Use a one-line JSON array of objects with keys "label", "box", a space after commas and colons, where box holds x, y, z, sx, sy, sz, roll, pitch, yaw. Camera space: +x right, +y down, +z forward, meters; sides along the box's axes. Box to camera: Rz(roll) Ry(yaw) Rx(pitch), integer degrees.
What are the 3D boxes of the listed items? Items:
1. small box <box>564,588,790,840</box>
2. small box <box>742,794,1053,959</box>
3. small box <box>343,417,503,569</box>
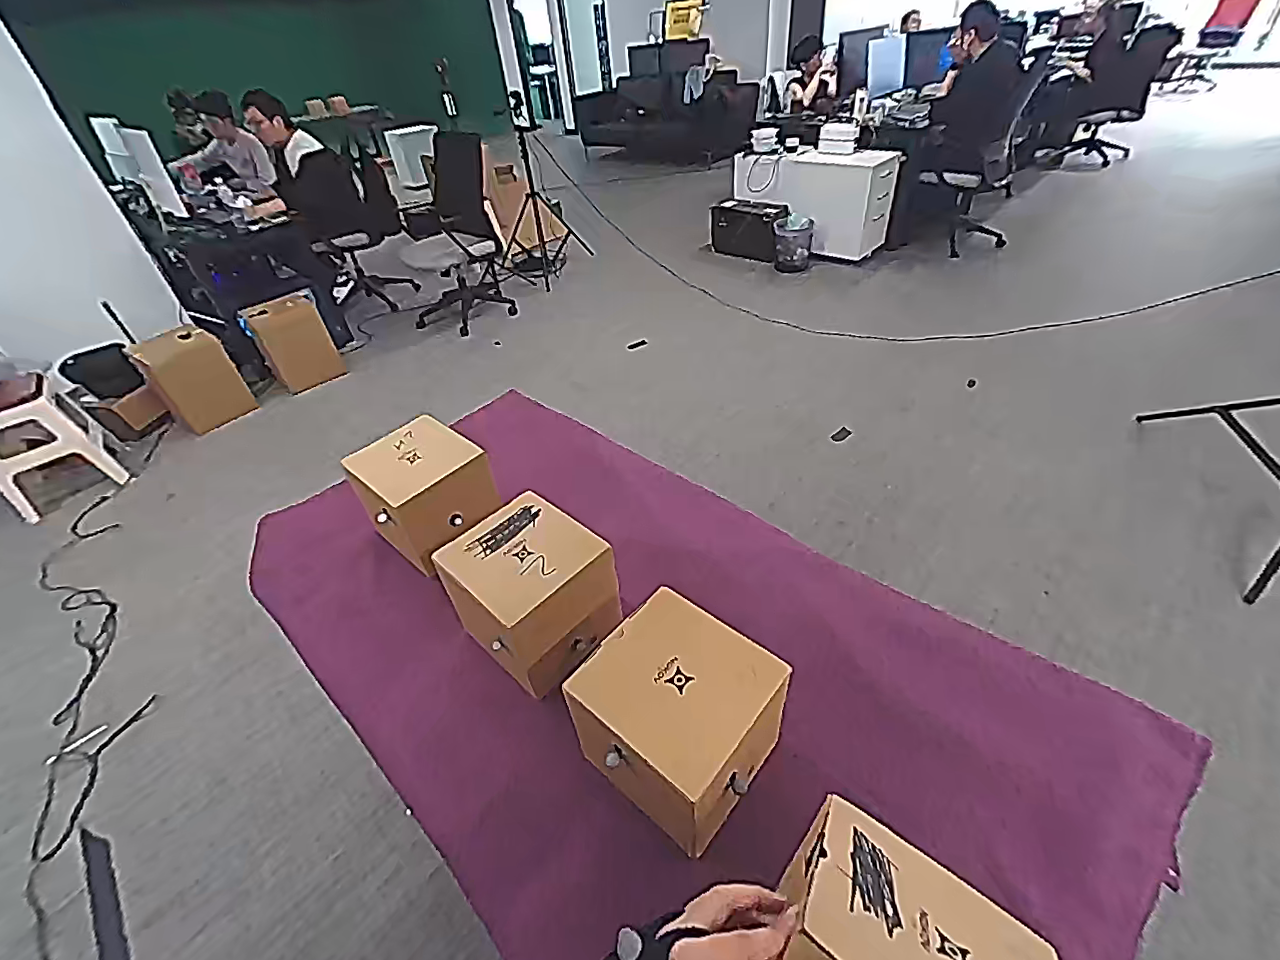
[{"label": "small box", "box": [0.045, 0.263, 0.606, 0.179, 0.176, 0.168, 27, 50, 33]}, {"label": "small box", "box": [0.165, 0.376, 0.374, 0.179, 0.176, 0.168, 29, 10, 23]}, {"label": "small box", "box": [-0.360, 0.026, 0.928, 0.179, 0.176, 0.168, 28, 51, 31]}]
